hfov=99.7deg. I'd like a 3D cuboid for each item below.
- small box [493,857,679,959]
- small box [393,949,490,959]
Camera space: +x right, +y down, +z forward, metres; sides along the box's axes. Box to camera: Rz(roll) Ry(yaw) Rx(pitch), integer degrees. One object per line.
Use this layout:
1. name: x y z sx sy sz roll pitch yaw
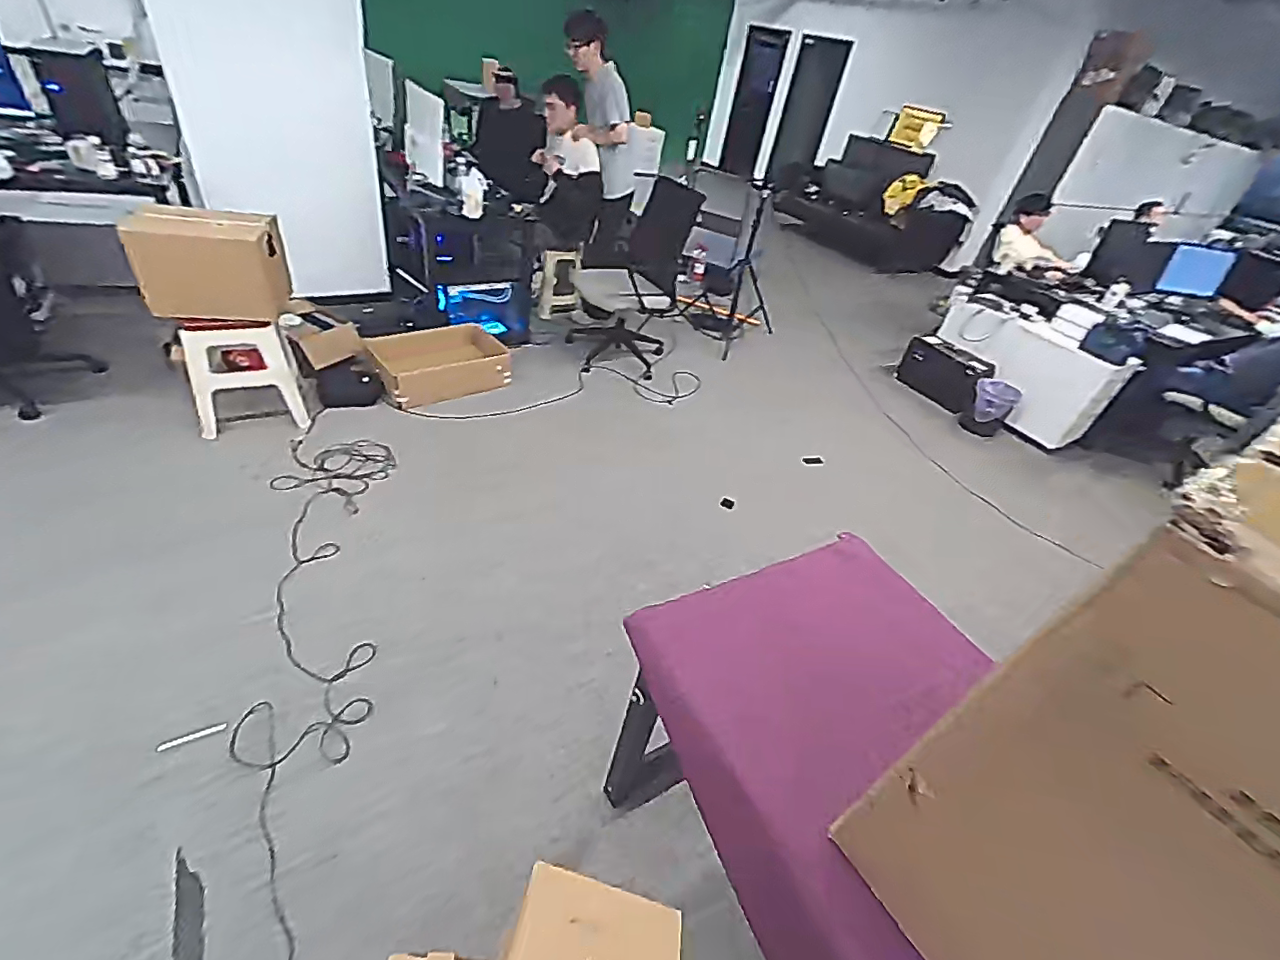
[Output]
1. small box: -0.071 0.519 0.512 0.168 0.176 0.179 21 19 -1
2. small box: -0.341 0.900 0.874 0.168 0.176 0.179 9 38 -4
